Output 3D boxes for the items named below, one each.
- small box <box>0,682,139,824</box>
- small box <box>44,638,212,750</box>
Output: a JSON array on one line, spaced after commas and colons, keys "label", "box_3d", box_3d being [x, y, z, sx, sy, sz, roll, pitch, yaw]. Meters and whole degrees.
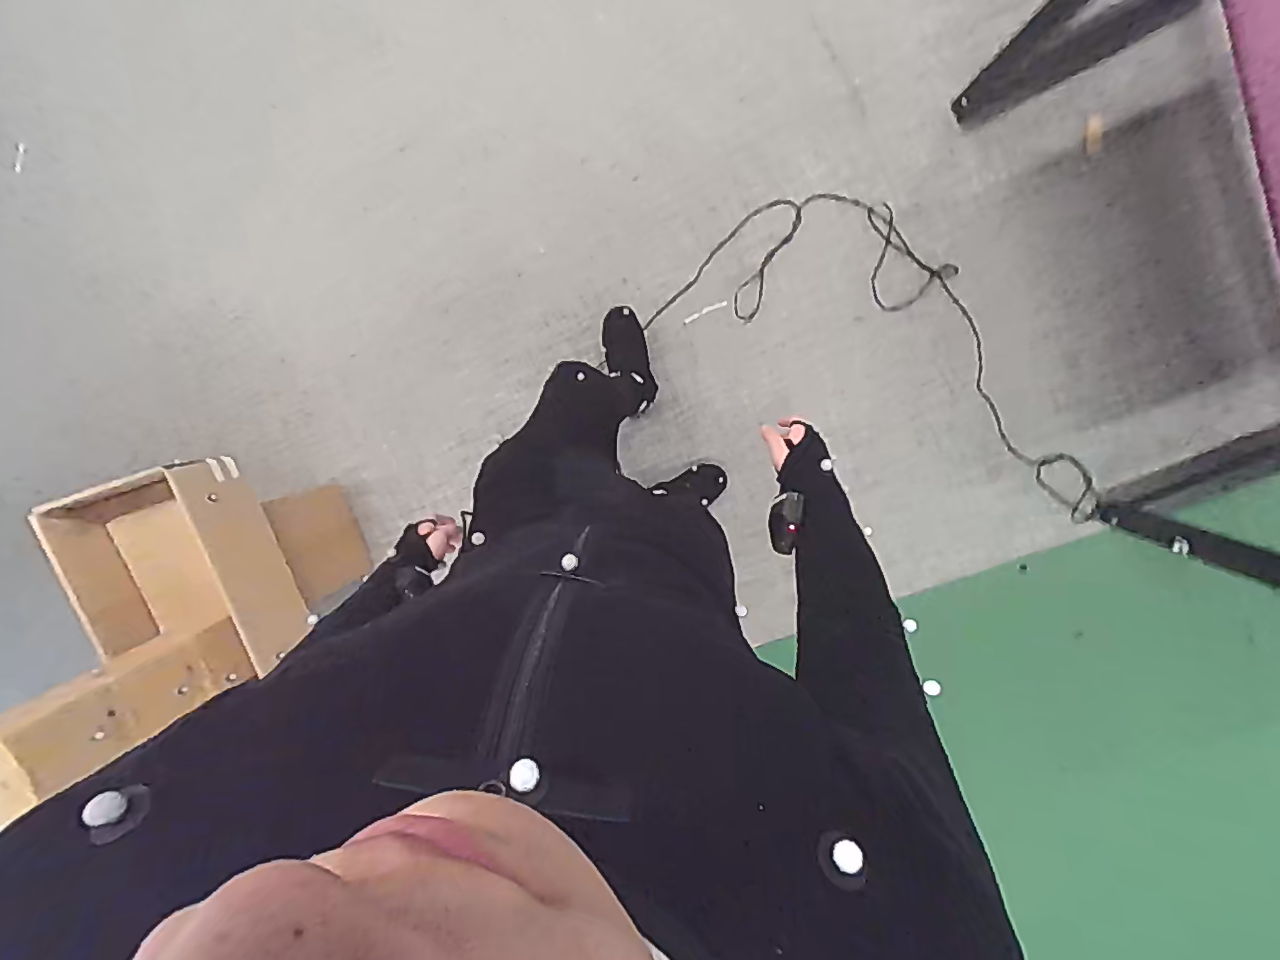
[{"label": "small box", "box_3d": [-1.112, 0.504, 1.008, 0.179, 0.176, 0.168, -13, 102, 8]}, {"label": "small box", "box_3d": [-1.092, 0.466, 1.167, 0.179, 0.176, 0.168, -14, 101, 9]}]
